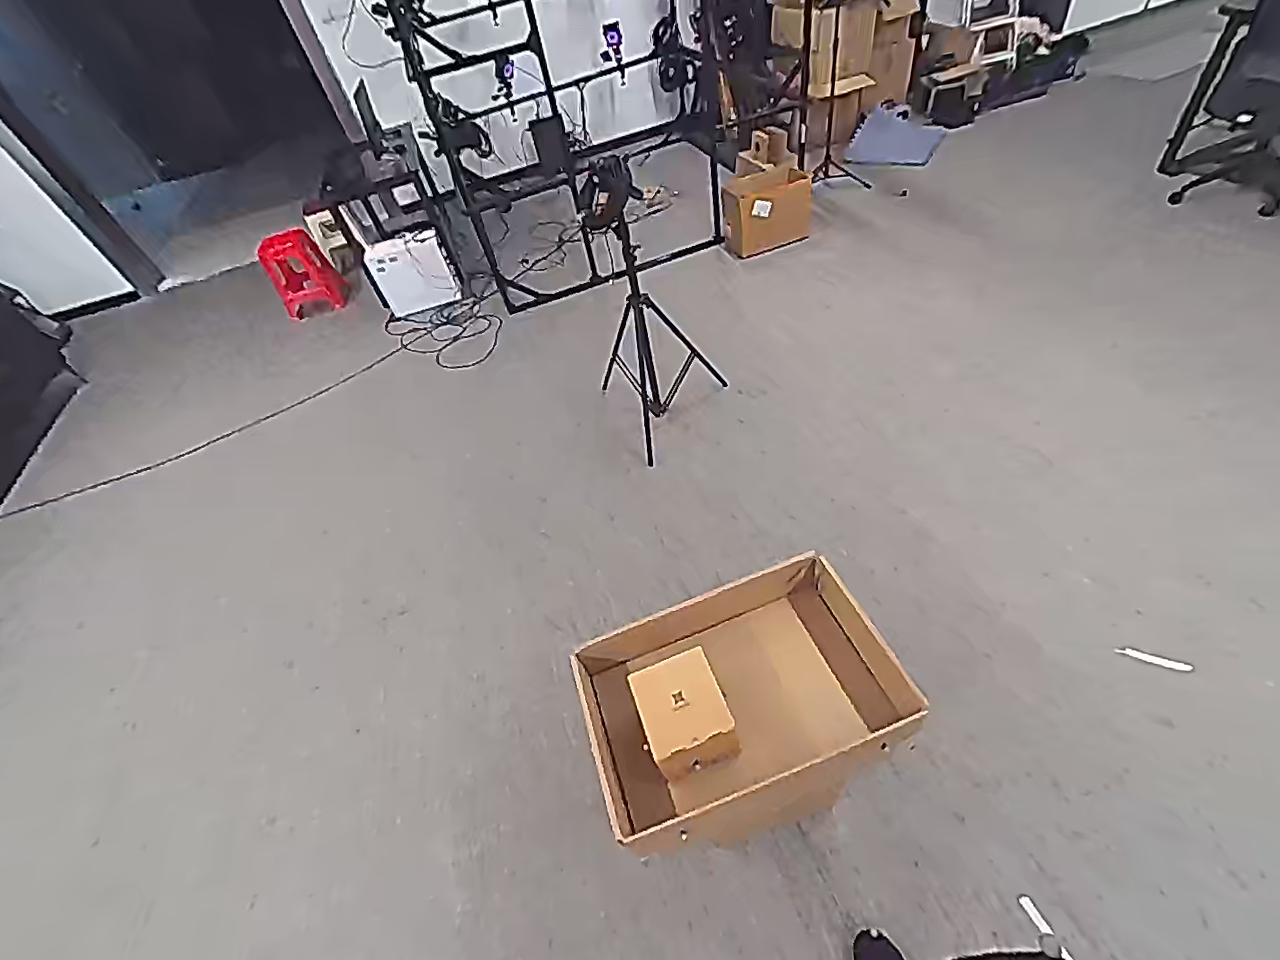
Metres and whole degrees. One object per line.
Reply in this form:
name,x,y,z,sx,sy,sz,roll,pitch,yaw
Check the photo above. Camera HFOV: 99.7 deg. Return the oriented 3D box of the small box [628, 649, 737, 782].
small box,0.090,0.488,1.116,0.168,0.176,0.179,-21,48,-5
